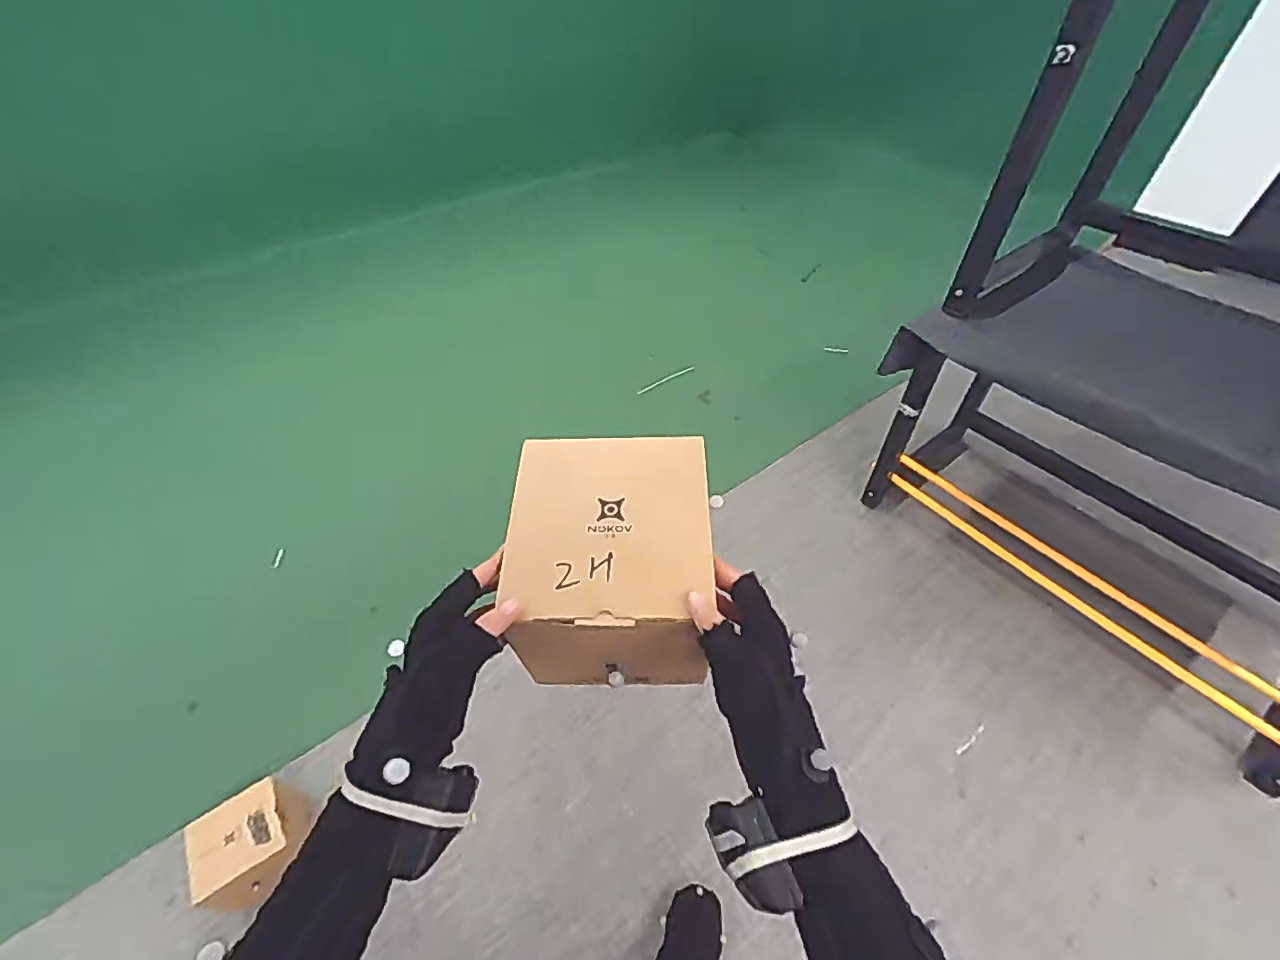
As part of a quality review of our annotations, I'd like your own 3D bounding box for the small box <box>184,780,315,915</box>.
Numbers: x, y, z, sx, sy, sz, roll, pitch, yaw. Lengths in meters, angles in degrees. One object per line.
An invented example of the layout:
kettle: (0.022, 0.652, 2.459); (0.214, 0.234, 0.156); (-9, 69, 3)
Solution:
small box: (-0.841, 0.803, 1.181); (0.179, 0.176, 0.168); (-28, 52, -22)
